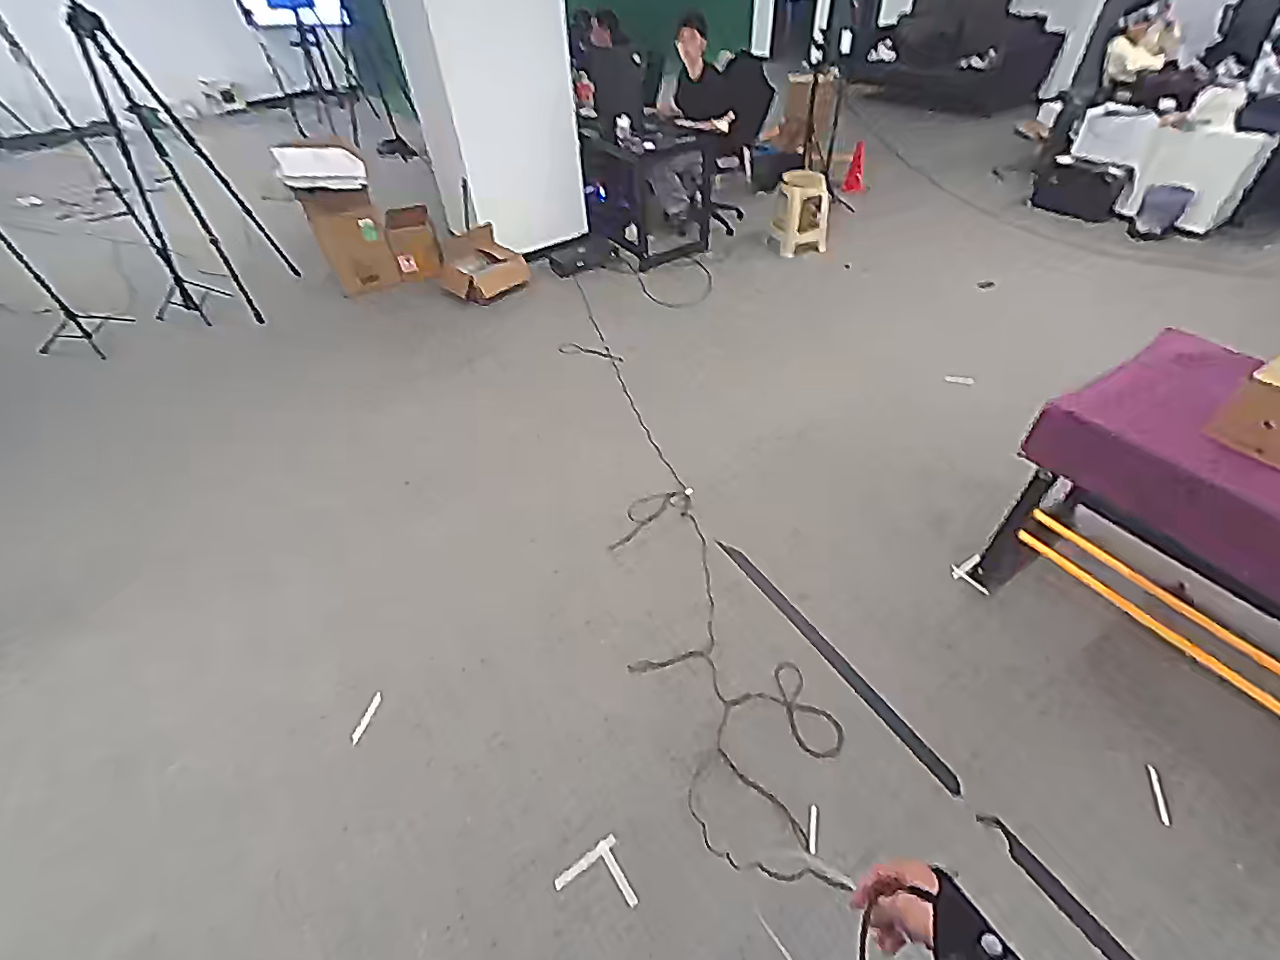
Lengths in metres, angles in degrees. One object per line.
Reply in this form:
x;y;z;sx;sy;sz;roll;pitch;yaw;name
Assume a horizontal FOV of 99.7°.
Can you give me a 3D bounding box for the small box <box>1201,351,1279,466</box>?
1.441;-0.160;1.218;0.179;0.176;0.168;-24;49;-19;small box
